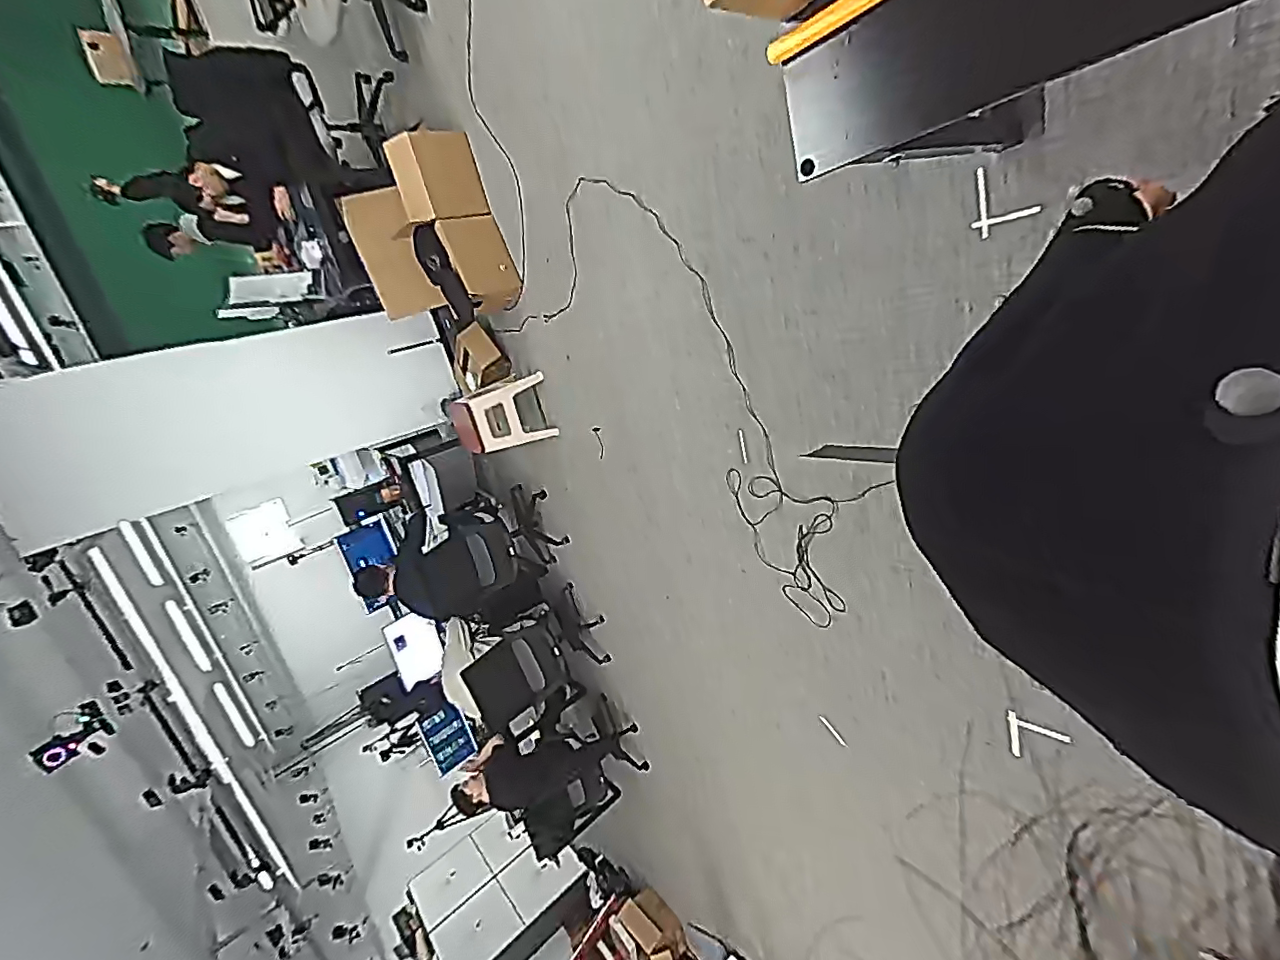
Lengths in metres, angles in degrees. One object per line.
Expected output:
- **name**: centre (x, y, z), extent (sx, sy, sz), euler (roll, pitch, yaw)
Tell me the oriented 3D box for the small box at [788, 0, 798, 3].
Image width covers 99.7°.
- **small box**: centre (0.165, -0.682, 0.600), extent (0.168, 0.176, 0.179), euler (4, 116, 53)
